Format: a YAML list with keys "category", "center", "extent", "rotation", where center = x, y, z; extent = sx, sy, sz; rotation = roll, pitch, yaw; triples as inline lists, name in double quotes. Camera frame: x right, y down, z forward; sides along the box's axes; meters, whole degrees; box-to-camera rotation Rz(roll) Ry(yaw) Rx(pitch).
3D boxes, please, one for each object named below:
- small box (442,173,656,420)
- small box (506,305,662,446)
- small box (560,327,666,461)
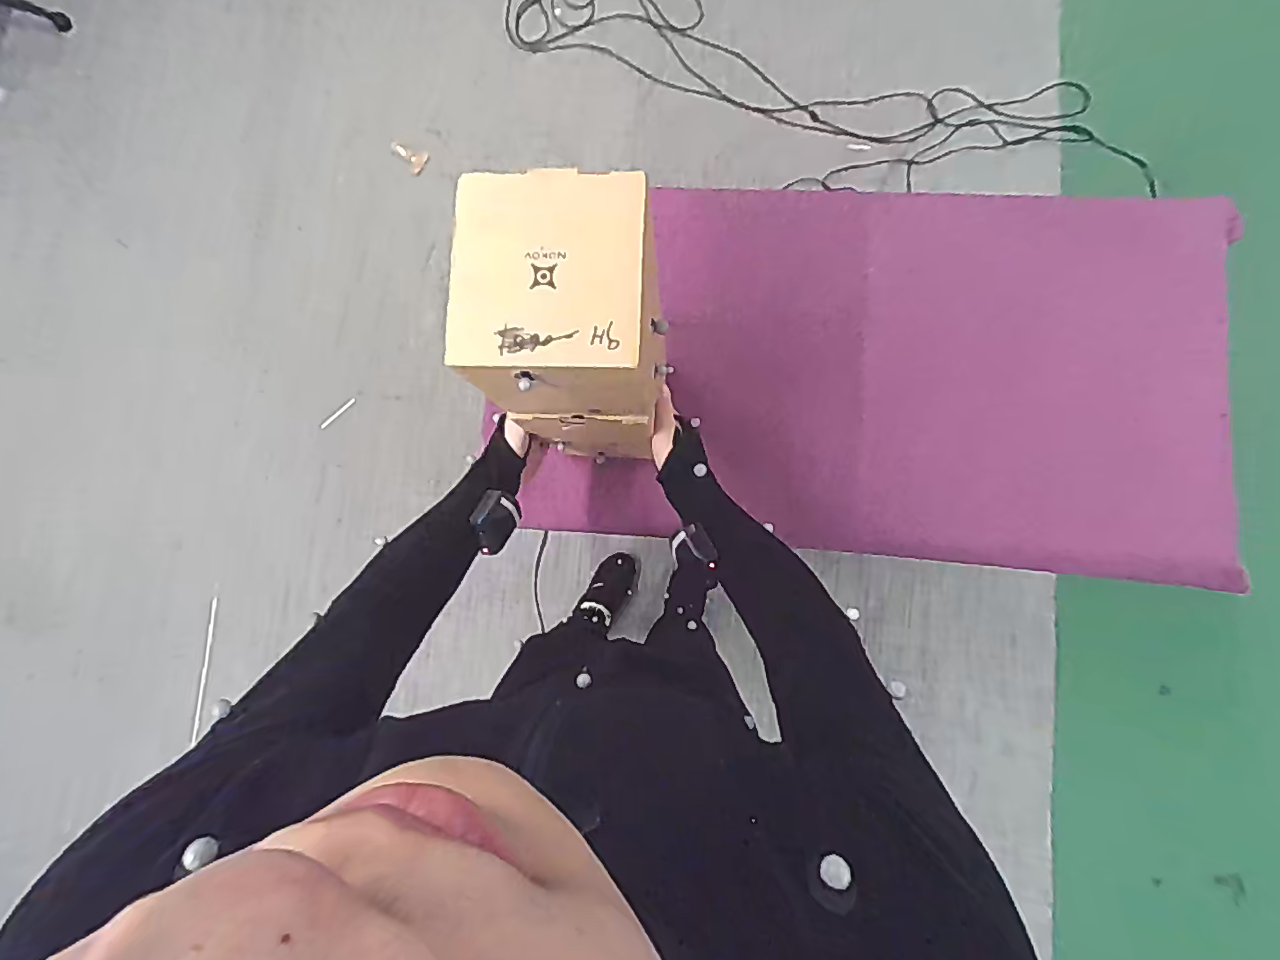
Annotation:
- category: "small box"
  center: [-0.073, -0.167, 0.532]
  extent: [0.168, 0.176, 0.179]
  rotation: [2, 83, 6]
- category: "small box"
  center: [-0.060, -0.142, 0.693]
  extent: [0.168, 0.176, 0.179]
  rotation: [2, 83, 5]
- category: "small box"
  center: [-0.046, -0.132, 0.856]
  extent: [0.168, 0.176, 0.179]
  rotation: [3, 84, 5]
